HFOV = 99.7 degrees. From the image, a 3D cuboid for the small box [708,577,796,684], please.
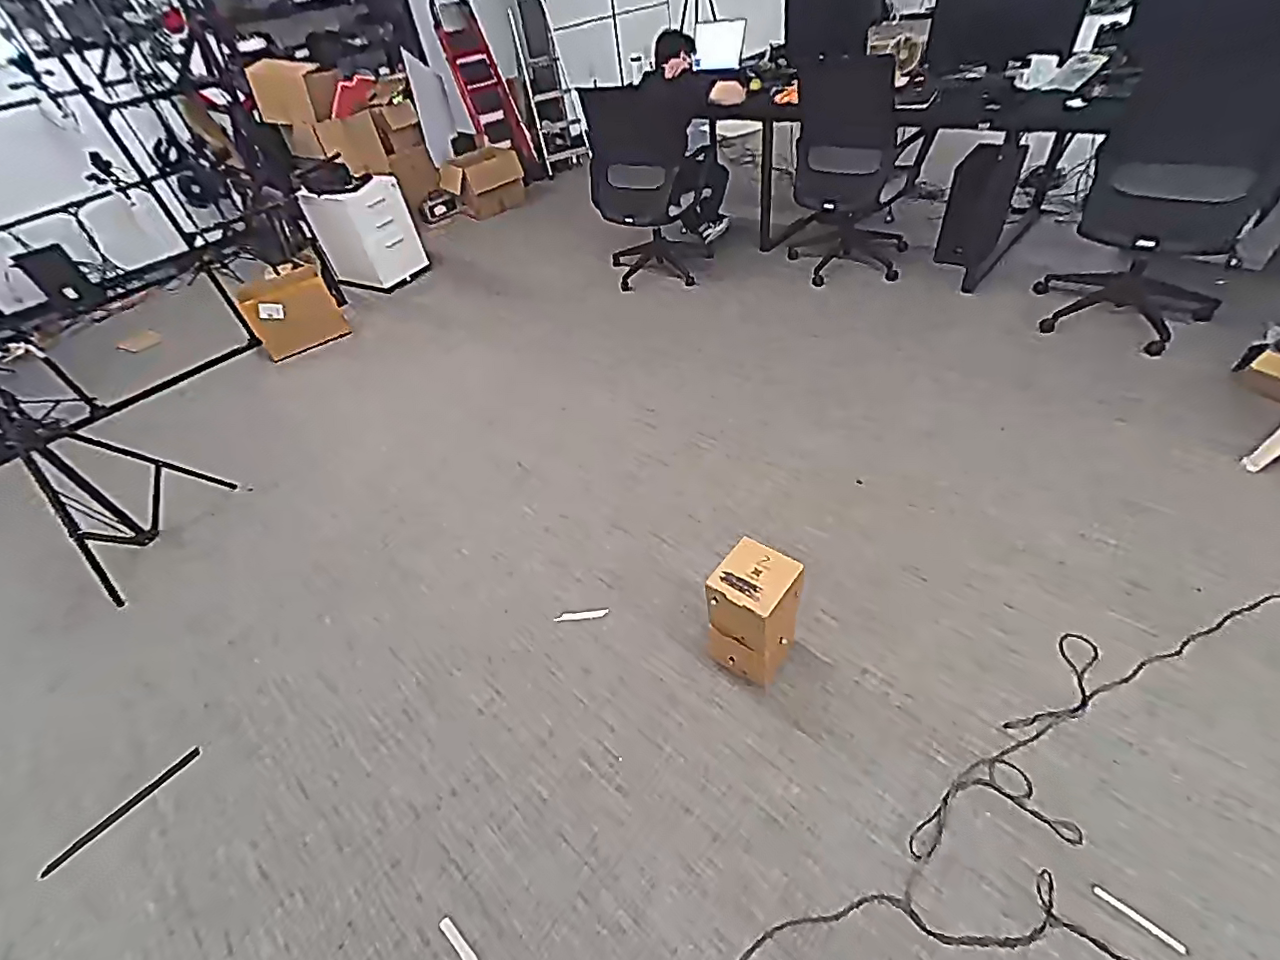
[{"bbox_3d":[0.293,0.397,1.425,0.168,0.176,0.179,22,53,29],"label":"small box"}]
